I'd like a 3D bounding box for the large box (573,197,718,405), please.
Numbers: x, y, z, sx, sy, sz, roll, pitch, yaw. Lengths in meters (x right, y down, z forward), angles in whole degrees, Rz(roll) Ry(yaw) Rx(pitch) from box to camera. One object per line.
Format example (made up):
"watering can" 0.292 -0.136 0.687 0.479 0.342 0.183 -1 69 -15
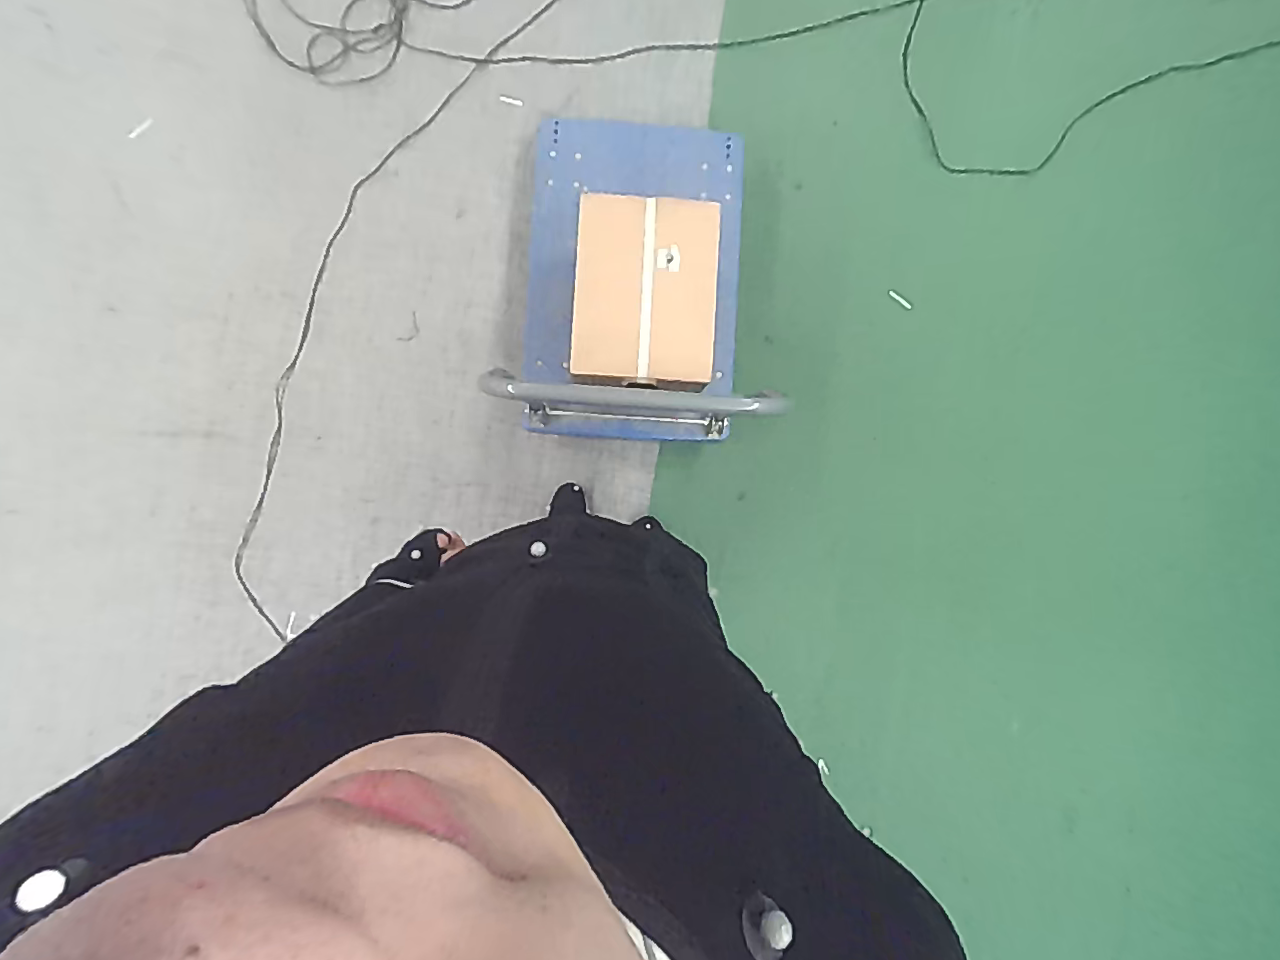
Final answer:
"large box" 0.009 -0.412 1.334 0.320 0.320 0.408 3 87 -3
